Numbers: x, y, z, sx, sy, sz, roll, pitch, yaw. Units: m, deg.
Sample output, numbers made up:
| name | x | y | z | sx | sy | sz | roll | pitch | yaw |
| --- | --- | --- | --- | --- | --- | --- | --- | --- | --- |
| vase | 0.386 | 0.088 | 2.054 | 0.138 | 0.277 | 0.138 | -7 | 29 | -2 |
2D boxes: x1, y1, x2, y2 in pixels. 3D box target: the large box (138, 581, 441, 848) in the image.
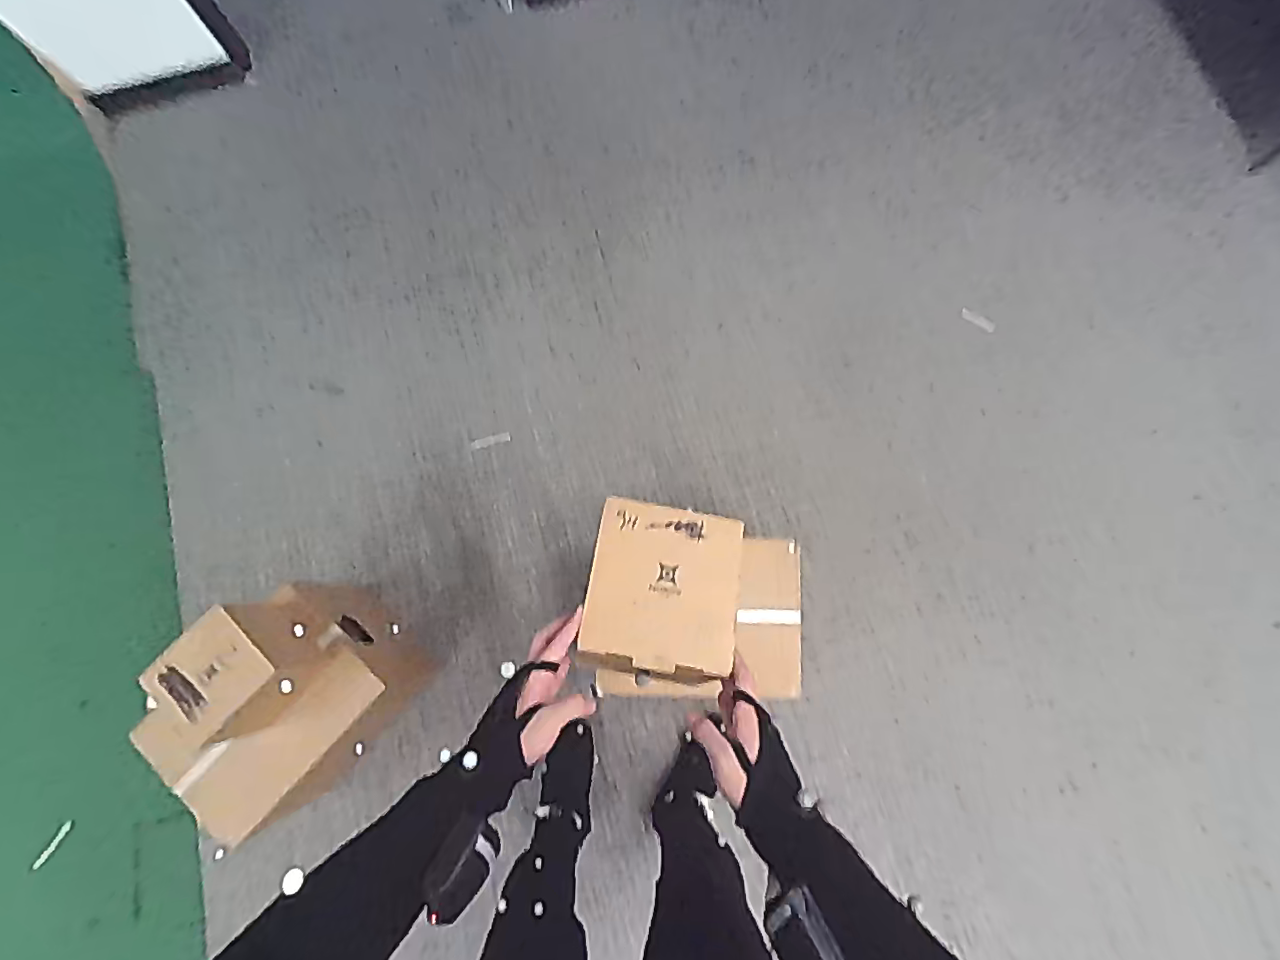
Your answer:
| name | x | y | z | sx | sy | sz | roll | pitch | yaw |
| --- | --- | --- | --- | --- | --- | --- | --- | --- | --- |
| large box | -0.736 | 0.476 | 1.204 | 0.320 | 0.320 | 0.408 | 41 | 82 | 9 |

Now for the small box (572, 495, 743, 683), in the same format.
| name | x | y | z | sx | sy | sz | roll | pitch | yaw |
| --- | --- | --- | --- | --- | --- | --- | --- | --- | --- |
| small box | 0.017 | 0.142 | 0.658 | 0.168 | 0.176 | 0.179 | 11 | 65 | -2 |
